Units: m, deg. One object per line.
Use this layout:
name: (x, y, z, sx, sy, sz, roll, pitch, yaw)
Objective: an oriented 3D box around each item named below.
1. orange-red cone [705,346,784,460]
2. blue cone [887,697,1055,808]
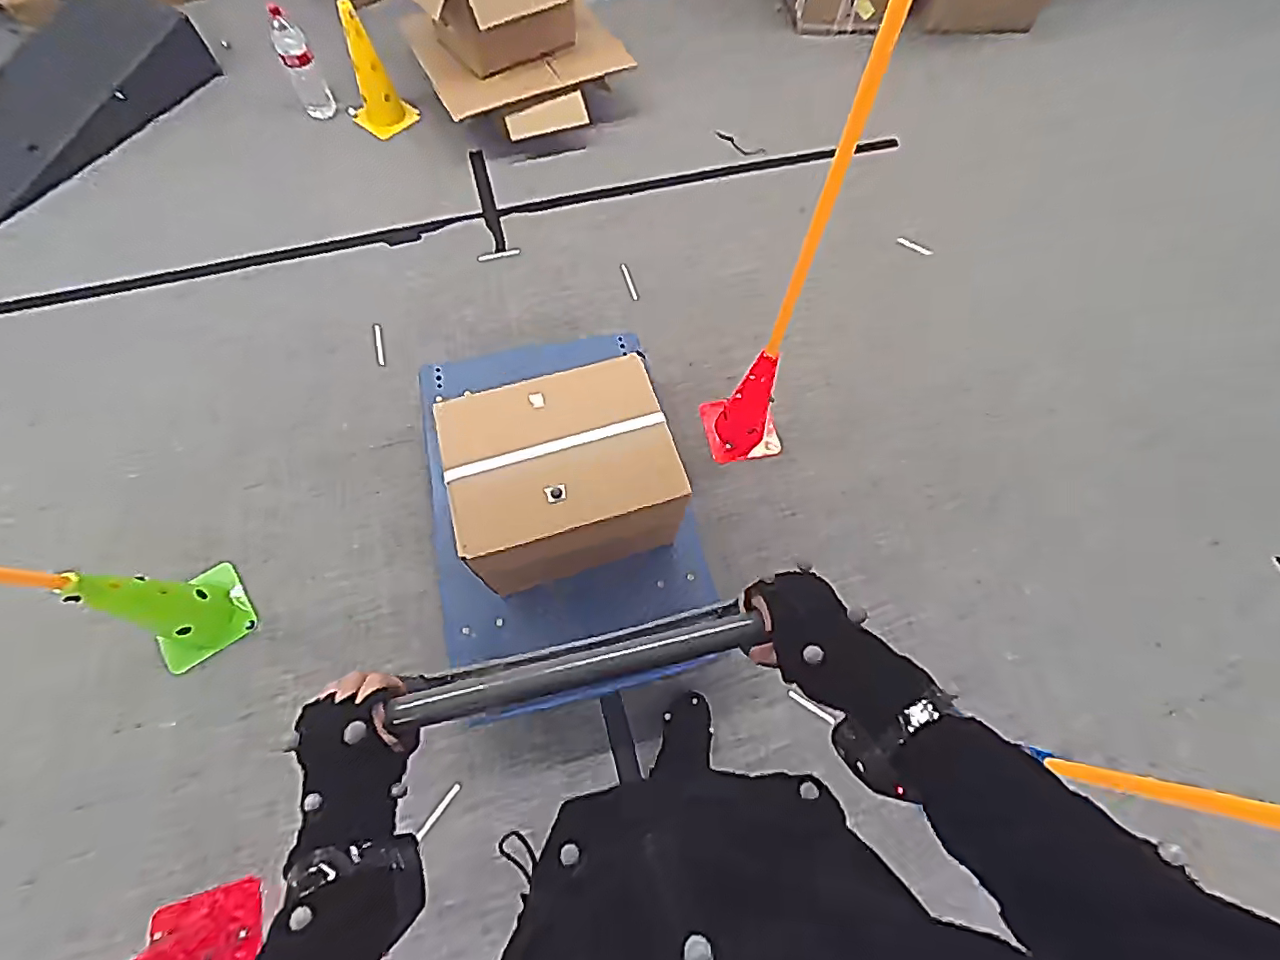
orange-red cone: (0.303, -0.221, 1.387, 0.199, 0.360, 0.198, -8, 67, -7)
blue cone: (0.683, 0.547, 1.077, 0.193, 0.380, 0.192, -18, 67, -11)
